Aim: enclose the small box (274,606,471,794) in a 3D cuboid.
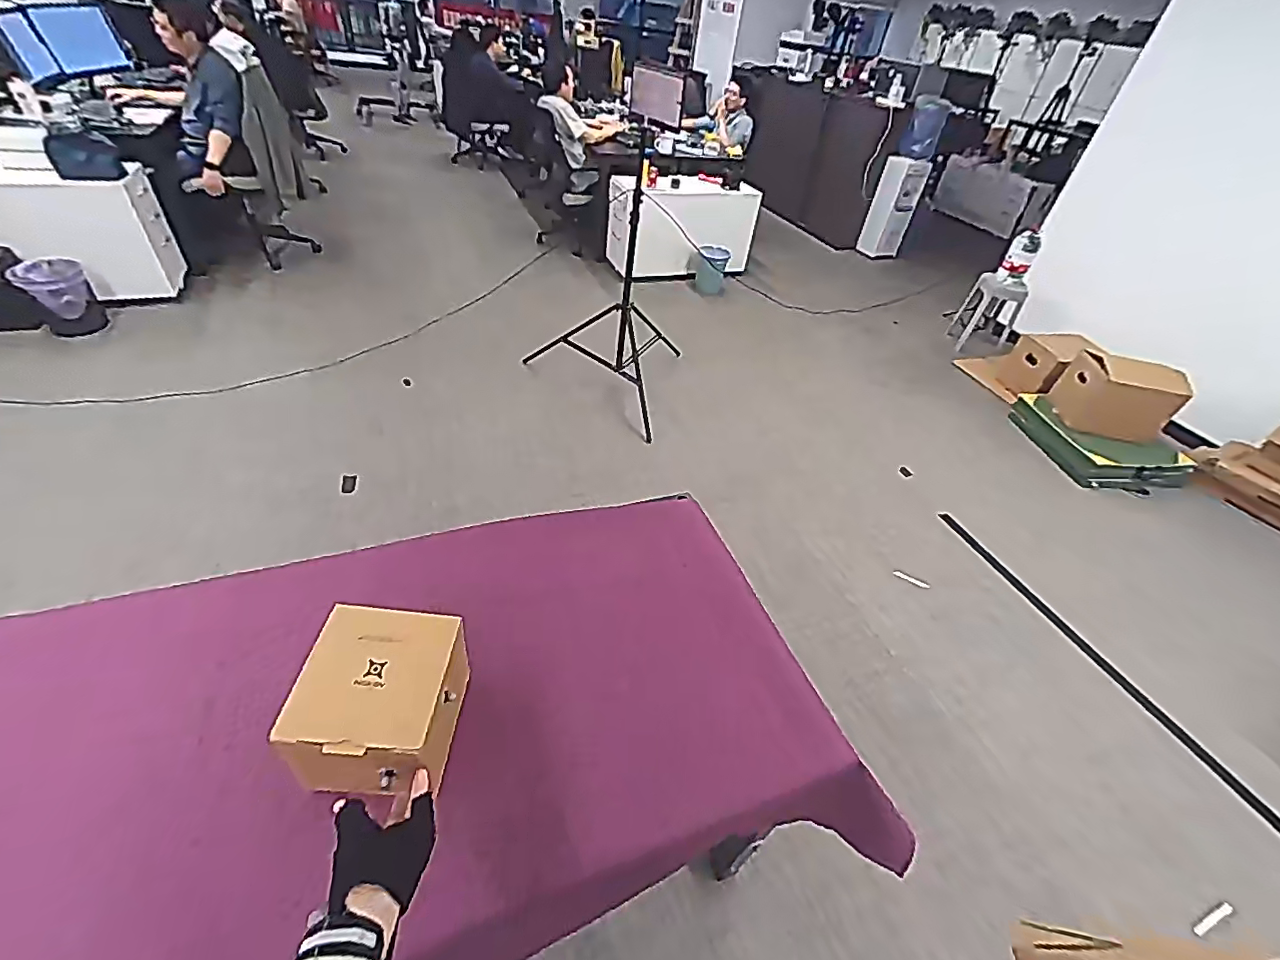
[{"bbox_3d":[-0.331,0.294,0.716,0.168,0.176,0.179,7,43,-3],"label":"small box"}]
